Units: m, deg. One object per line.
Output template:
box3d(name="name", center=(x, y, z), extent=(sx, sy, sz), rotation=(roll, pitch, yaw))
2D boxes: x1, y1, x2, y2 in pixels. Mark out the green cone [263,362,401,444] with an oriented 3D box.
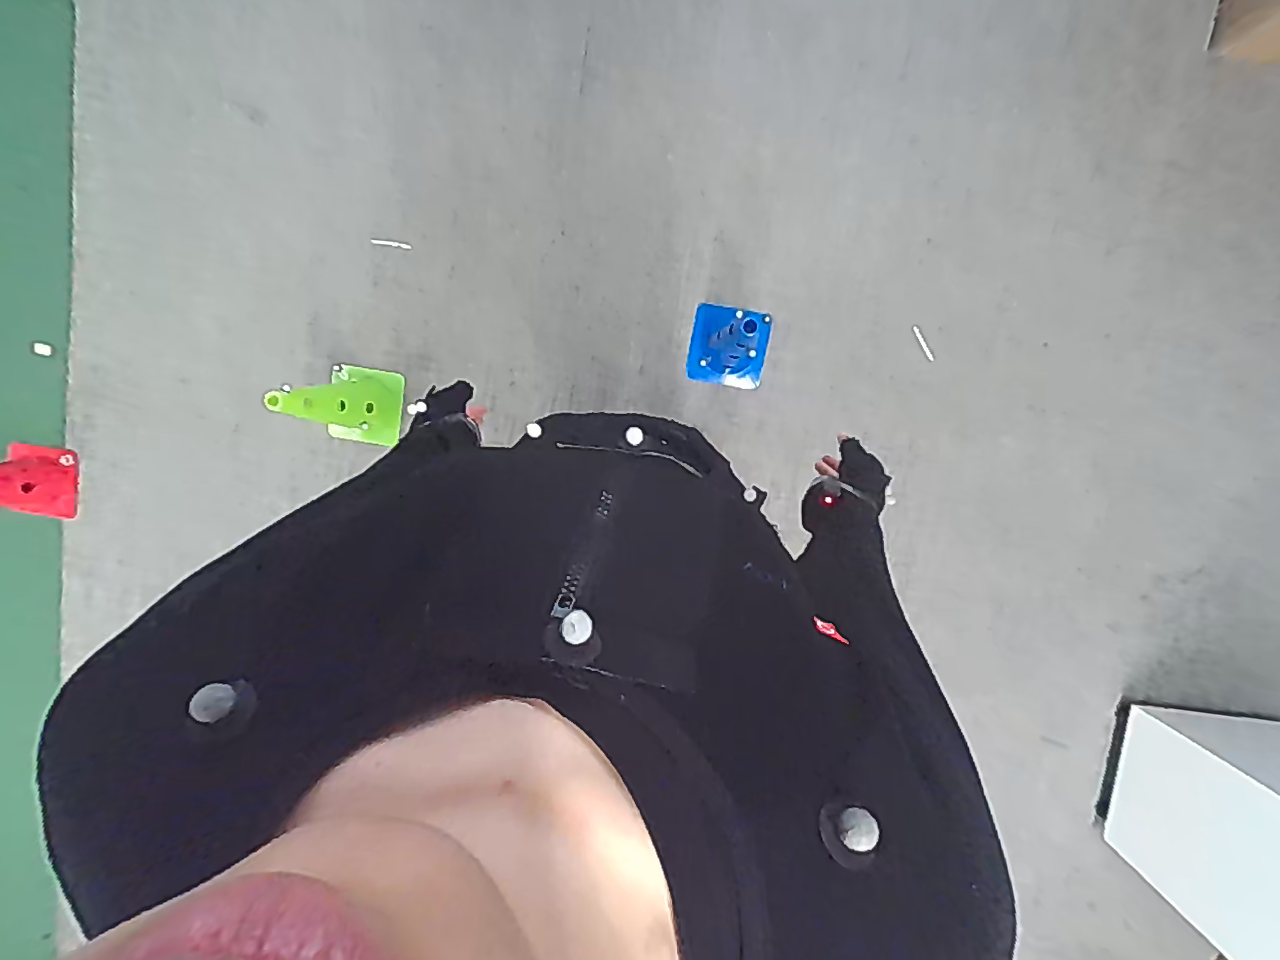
box3d(name="green cone", center=(-0.757, -0.185, 1.291), extent=(0.202, 0.368, 0.200), rotation=(8, 98, 1))
